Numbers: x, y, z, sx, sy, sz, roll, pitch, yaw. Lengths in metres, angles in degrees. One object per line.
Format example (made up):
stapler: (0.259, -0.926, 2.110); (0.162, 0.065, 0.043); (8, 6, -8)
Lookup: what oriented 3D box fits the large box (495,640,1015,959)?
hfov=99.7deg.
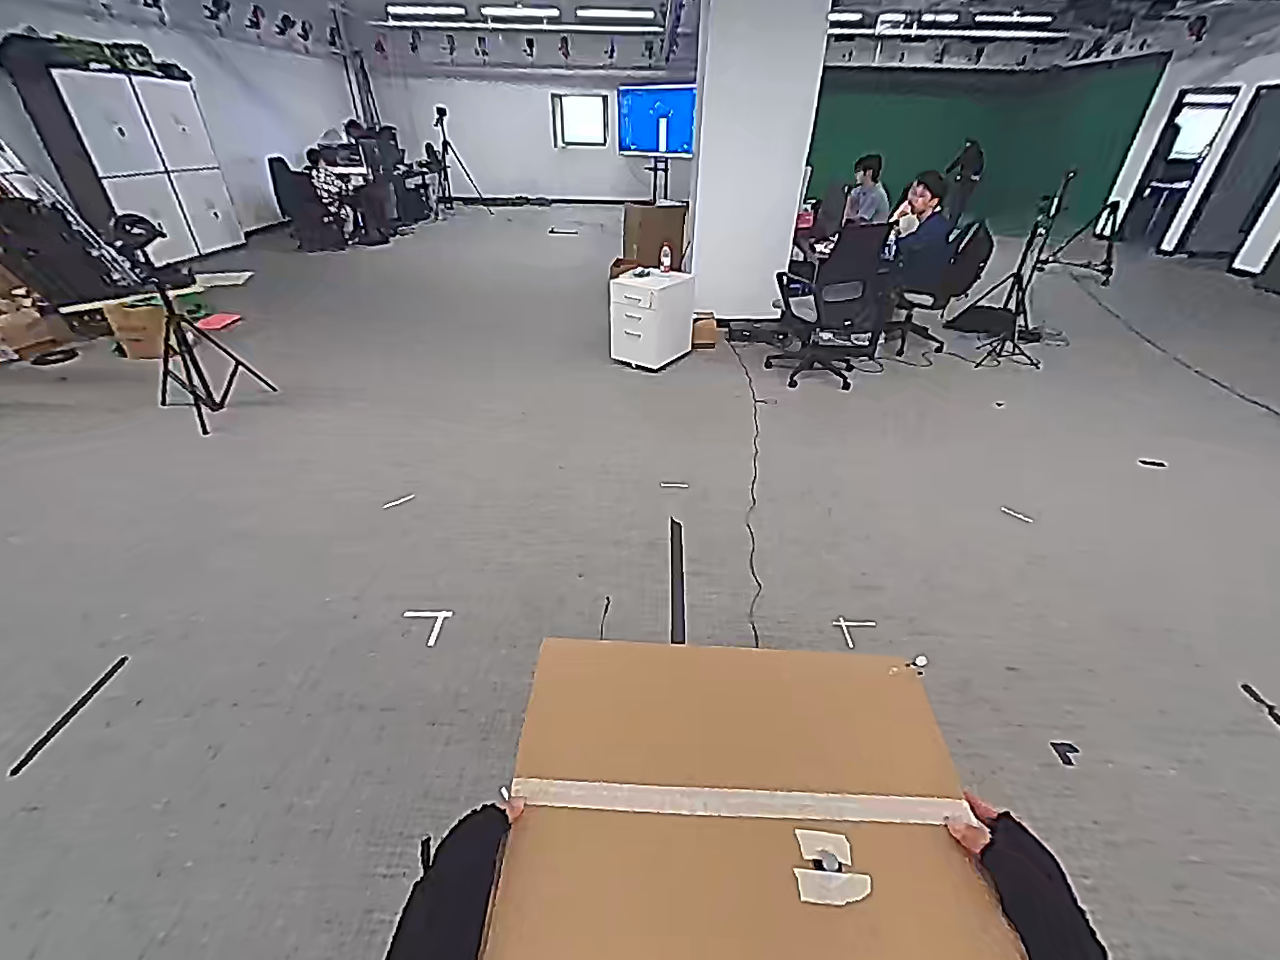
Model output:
large box: (0.088, 0.401, 0.591); (0.408, 0.320, 0.320); (3, 42, 1)
